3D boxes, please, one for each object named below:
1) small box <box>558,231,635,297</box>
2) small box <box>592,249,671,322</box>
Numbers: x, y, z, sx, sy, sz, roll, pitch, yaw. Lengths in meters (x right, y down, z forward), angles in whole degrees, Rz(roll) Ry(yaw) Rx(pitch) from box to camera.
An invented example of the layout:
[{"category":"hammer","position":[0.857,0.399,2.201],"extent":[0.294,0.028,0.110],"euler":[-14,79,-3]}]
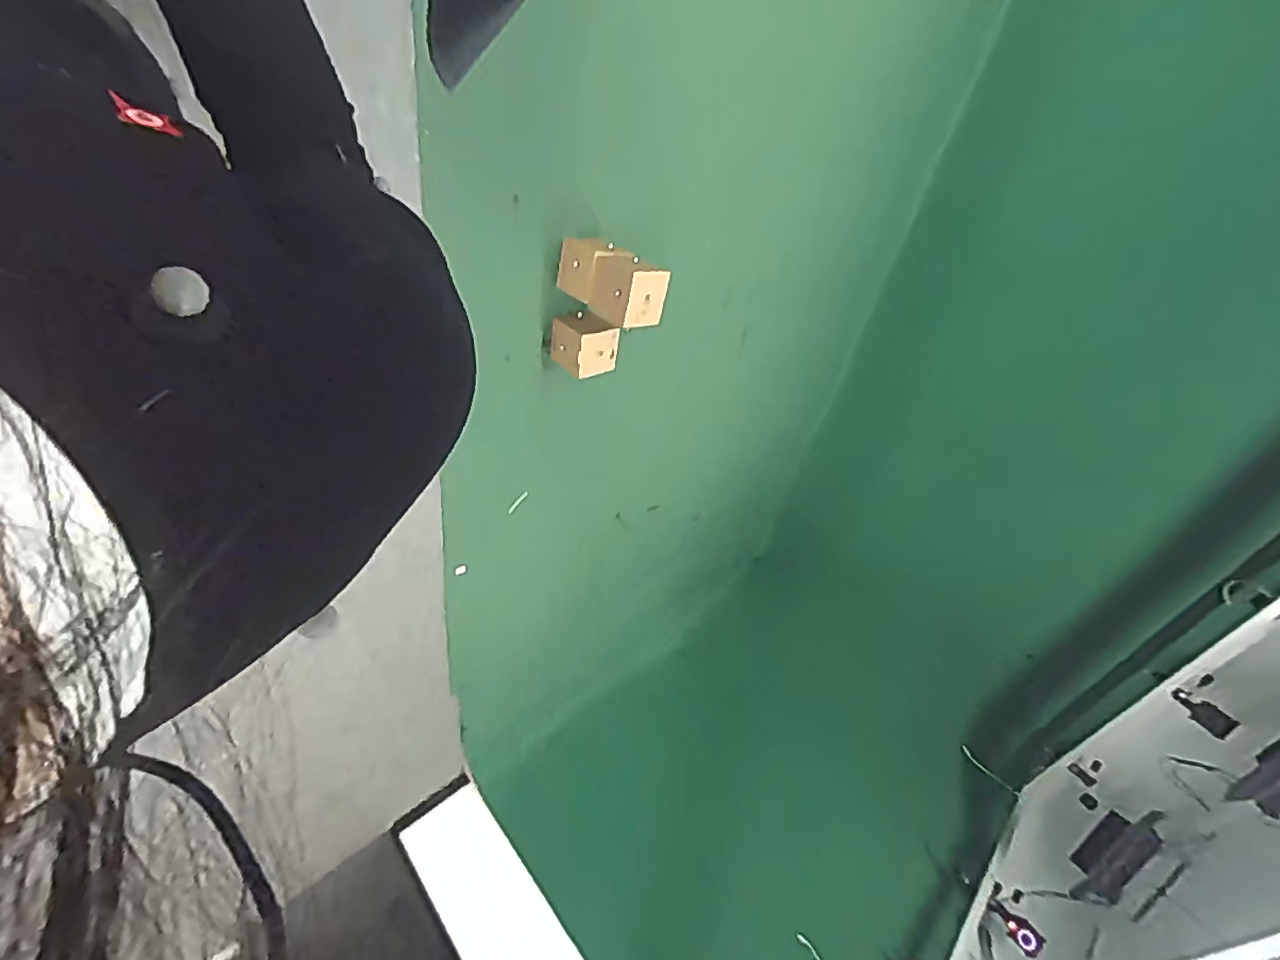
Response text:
[{"category":"small box","position":[-0.148,-0.714,1.792],"extent":[0.179,0.176,0.168],"euler":[-19,137,-42]},{"category":"small box","position":[-0.032,-0.622,1.720],"extent":[0.168,0.176,0.179],"euler":[-20,137,-42]}]
